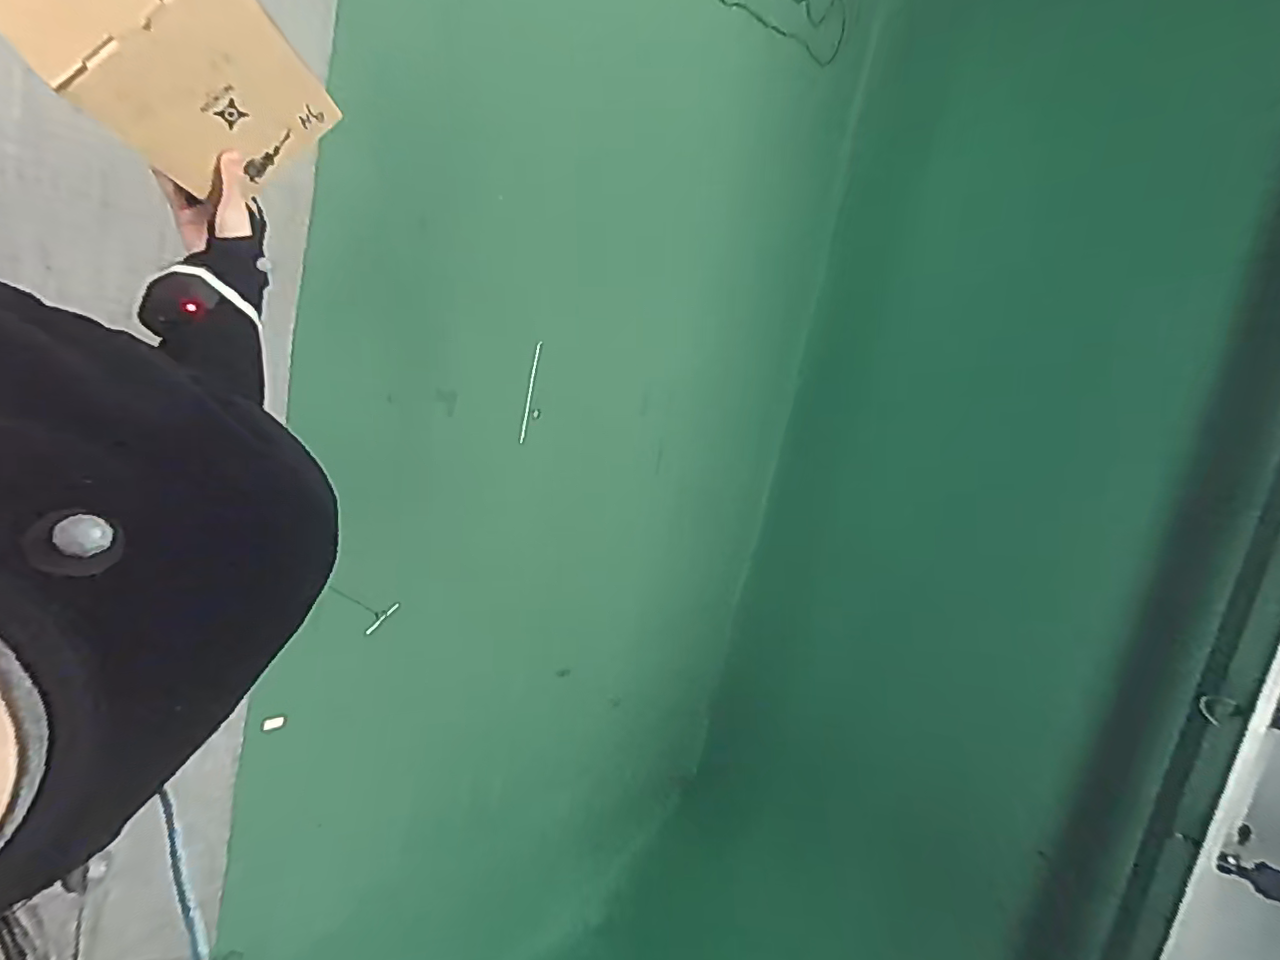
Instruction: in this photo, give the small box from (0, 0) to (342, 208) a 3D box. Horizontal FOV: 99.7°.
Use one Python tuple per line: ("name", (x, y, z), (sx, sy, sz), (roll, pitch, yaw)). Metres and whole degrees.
("small box", (-0.424, -0.398, 0.481), (0.168, 0.176, 0.179), (-44, 178, -3))
